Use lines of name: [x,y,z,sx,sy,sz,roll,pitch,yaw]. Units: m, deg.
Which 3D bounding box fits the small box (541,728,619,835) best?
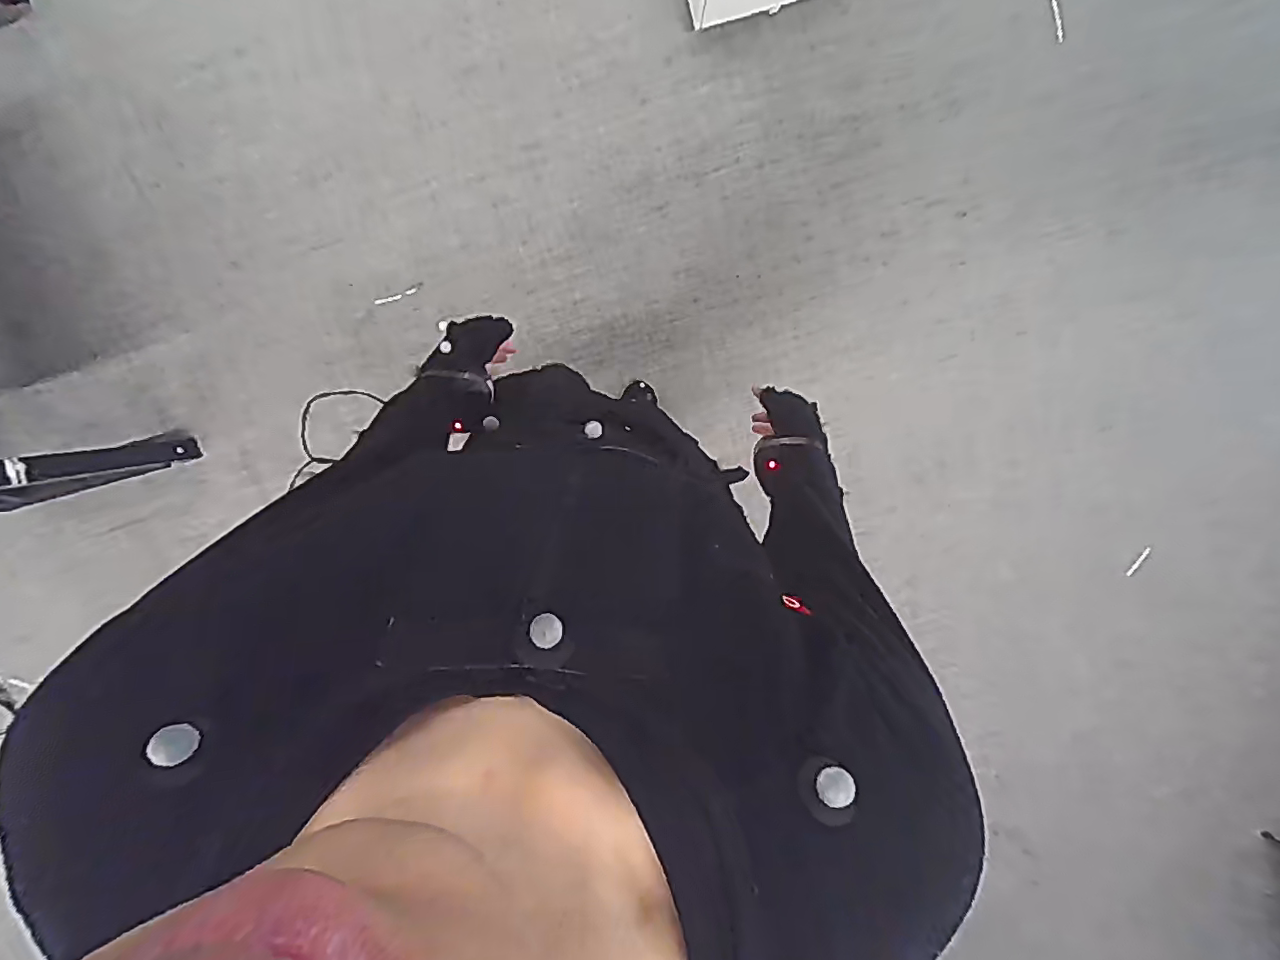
small box: [-0.158,0.830,1.502,0.168,0.176,0.179,-18,98,1]
